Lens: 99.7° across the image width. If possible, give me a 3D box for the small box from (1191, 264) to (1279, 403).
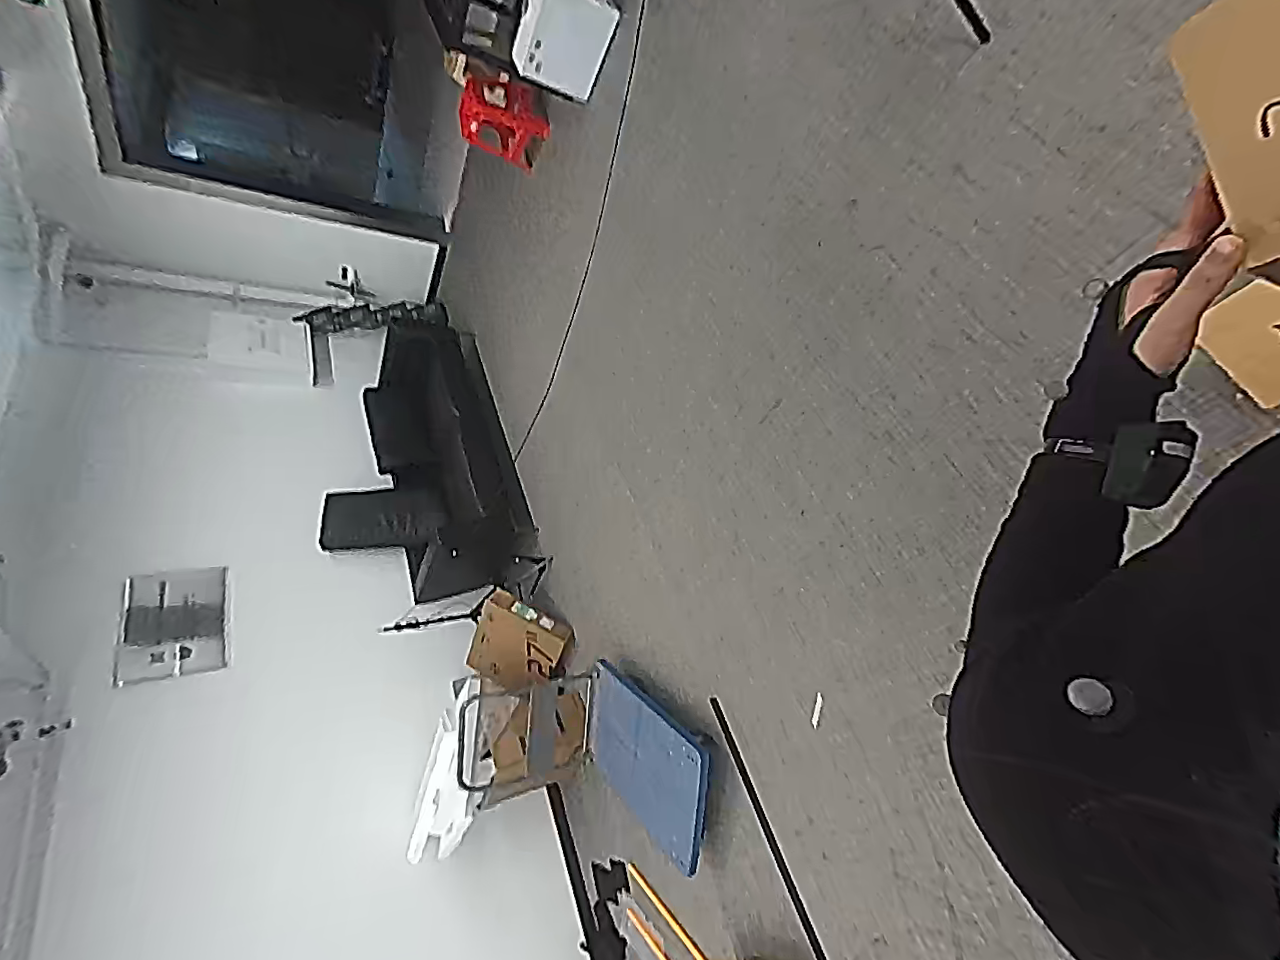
[{"bbox_3d":[1.010,-0.226,0.820,0.168,0.176,0.179,-49,54,46],"label":"small box"}]
